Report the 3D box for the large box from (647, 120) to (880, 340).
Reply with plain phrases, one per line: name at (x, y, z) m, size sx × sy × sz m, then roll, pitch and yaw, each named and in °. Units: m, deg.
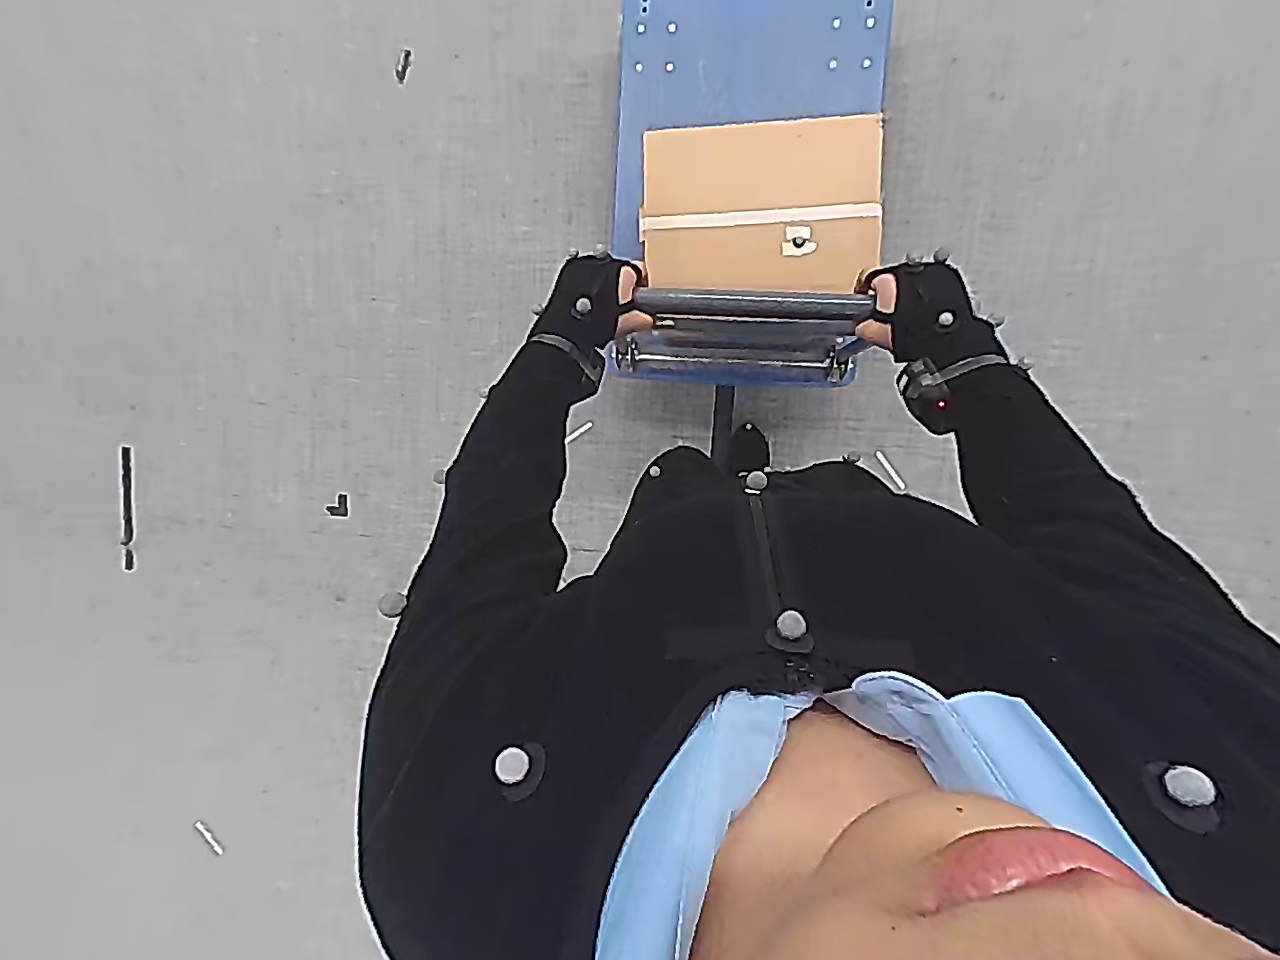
large box at (0.226, -0.471, 1.097) m, size 0.408 × 0.320 × 0.320 m, roll 0°, pitch 97°, yaw 6°
